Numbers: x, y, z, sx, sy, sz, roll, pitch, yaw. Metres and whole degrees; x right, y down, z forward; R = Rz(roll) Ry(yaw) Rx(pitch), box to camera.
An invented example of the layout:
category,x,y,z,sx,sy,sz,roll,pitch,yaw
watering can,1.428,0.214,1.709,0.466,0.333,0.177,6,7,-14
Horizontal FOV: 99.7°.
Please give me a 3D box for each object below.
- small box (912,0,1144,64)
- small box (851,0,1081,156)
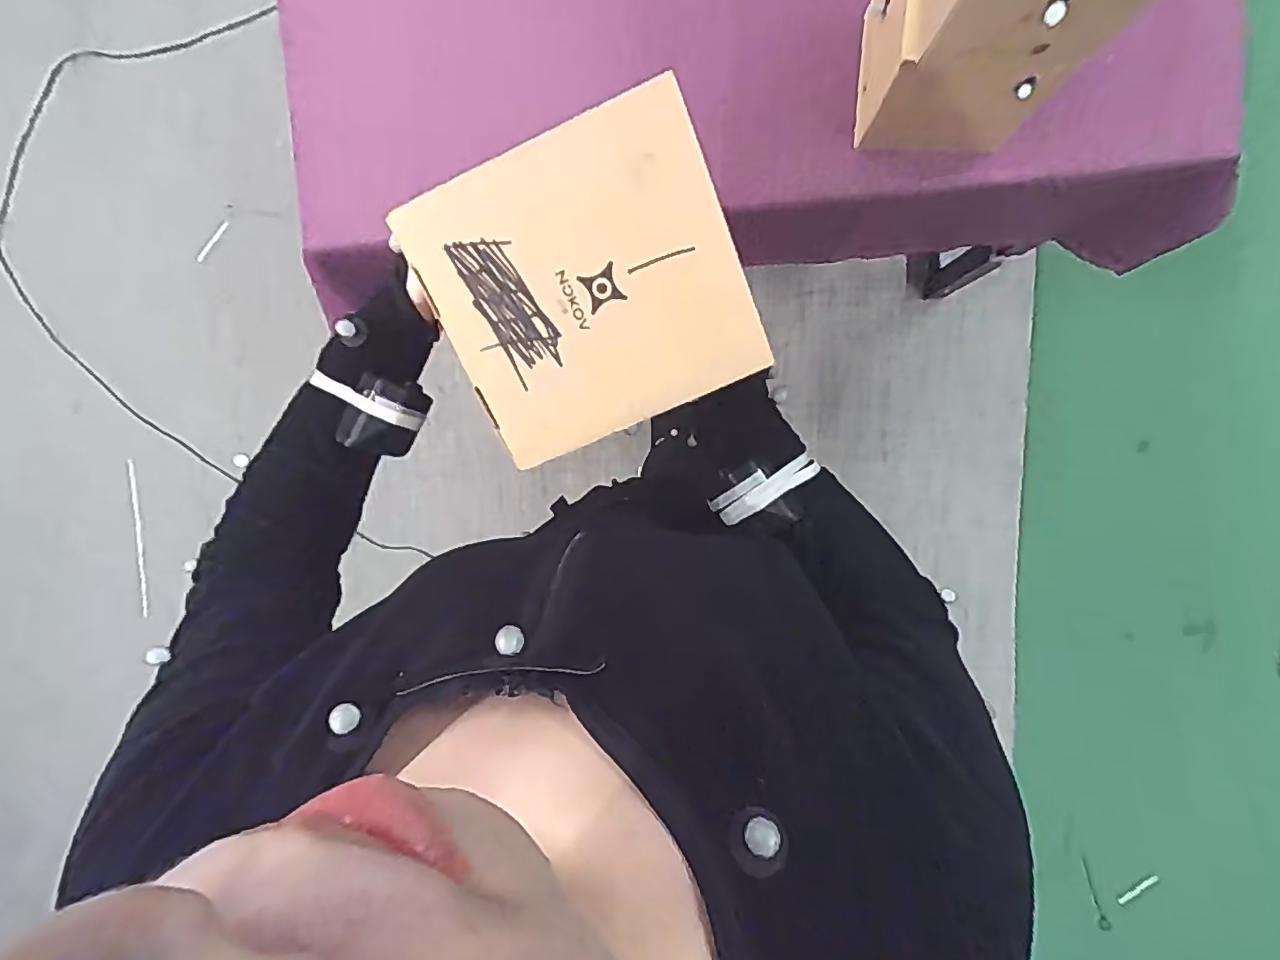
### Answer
category,x,y,z,sx,sy,sz,roll,pitch,yaw
small box,0.338,-0.474,0.436,0.168,0.176,0.179,0,95,4
small box,0.349,-0.486,0.599,0.179,0.176,0.168,4,95,4
